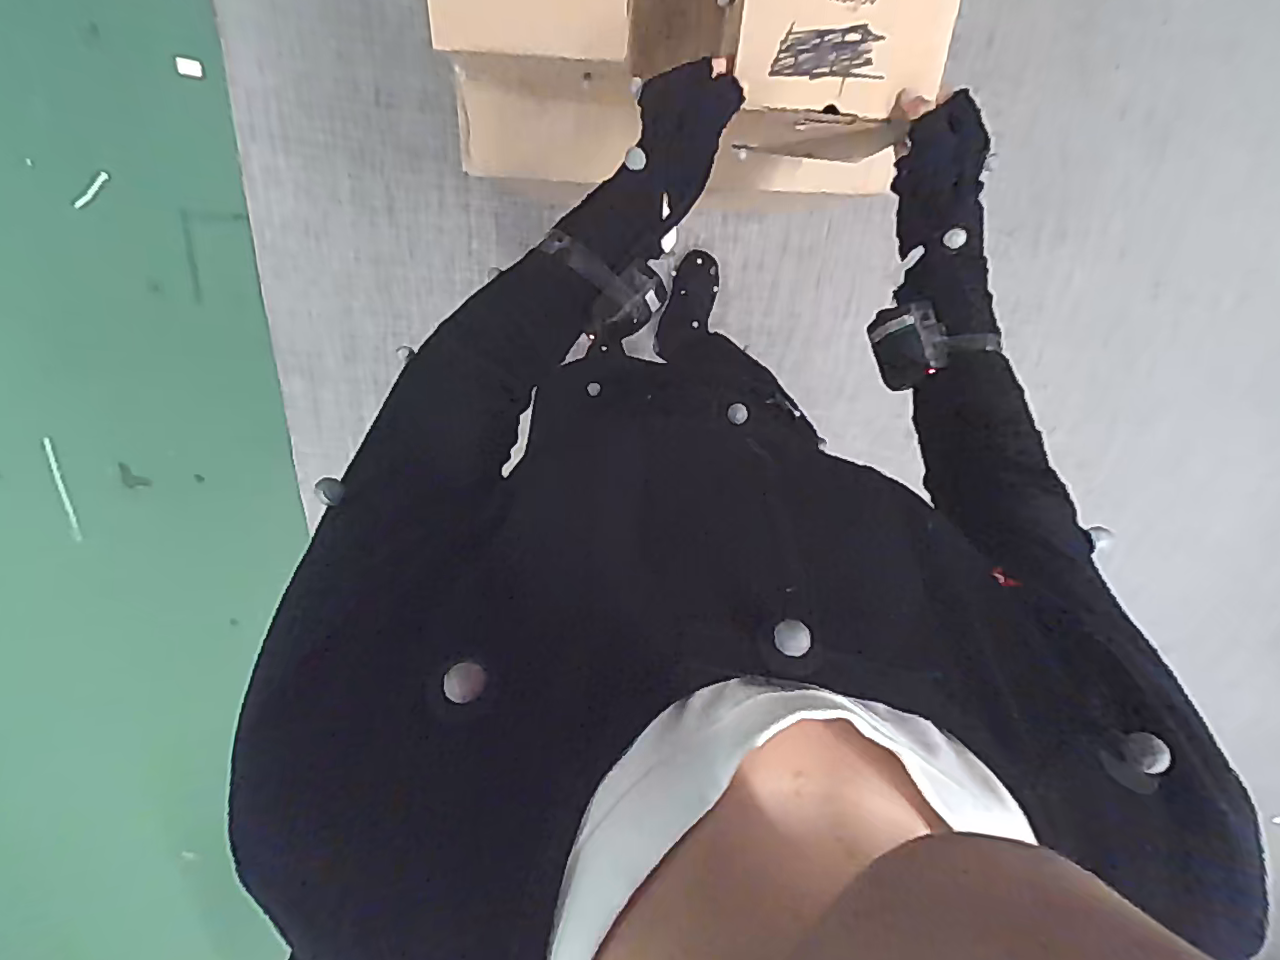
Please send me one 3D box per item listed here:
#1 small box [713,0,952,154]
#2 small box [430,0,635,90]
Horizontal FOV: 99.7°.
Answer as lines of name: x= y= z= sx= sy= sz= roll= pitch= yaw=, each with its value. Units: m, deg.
small box: x=0.161 y=-0.411 z=0.484 sx=0.168 sy=0.176 sz=0.179 roll=5 pitch=110 yaw=0
small box: x=-0.092 y=-0.489 z=0.518 sx=0.179 sy=0.176 sz=0.168 roll=3 pitch=118 yaw=1
